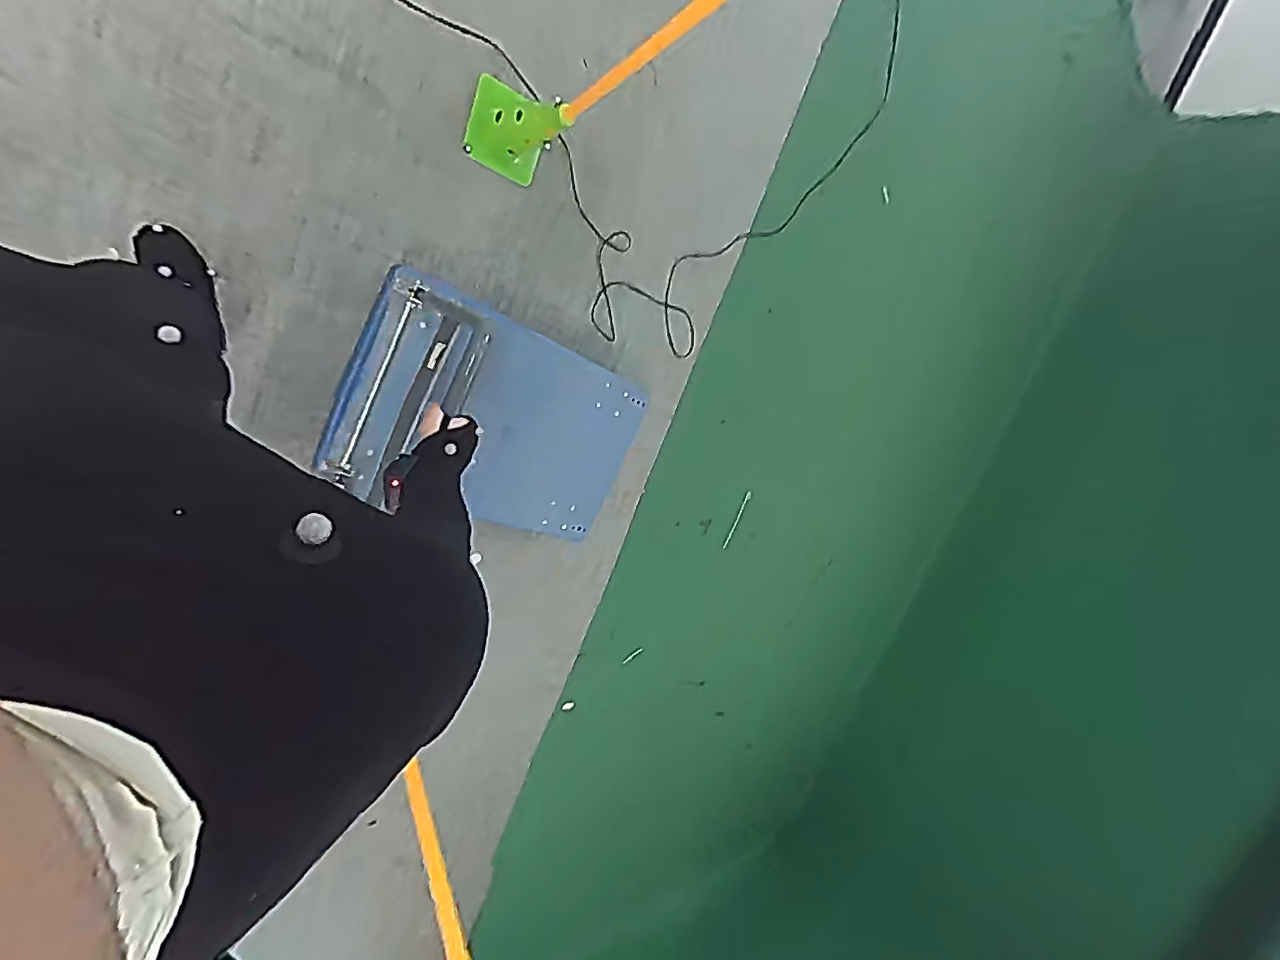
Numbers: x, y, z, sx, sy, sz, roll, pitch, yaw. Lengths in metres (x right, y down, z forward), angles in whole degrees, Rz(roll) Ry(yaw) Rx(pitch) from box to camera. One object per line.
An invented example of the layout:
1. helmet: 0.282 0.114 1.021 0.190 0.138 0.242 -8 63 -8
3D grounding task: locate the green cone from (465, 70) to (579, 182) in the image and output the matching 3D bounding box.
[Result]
1. green cone: -0.249 -0.865 1.297 0.200 0.368 0.202 8 105 -40
